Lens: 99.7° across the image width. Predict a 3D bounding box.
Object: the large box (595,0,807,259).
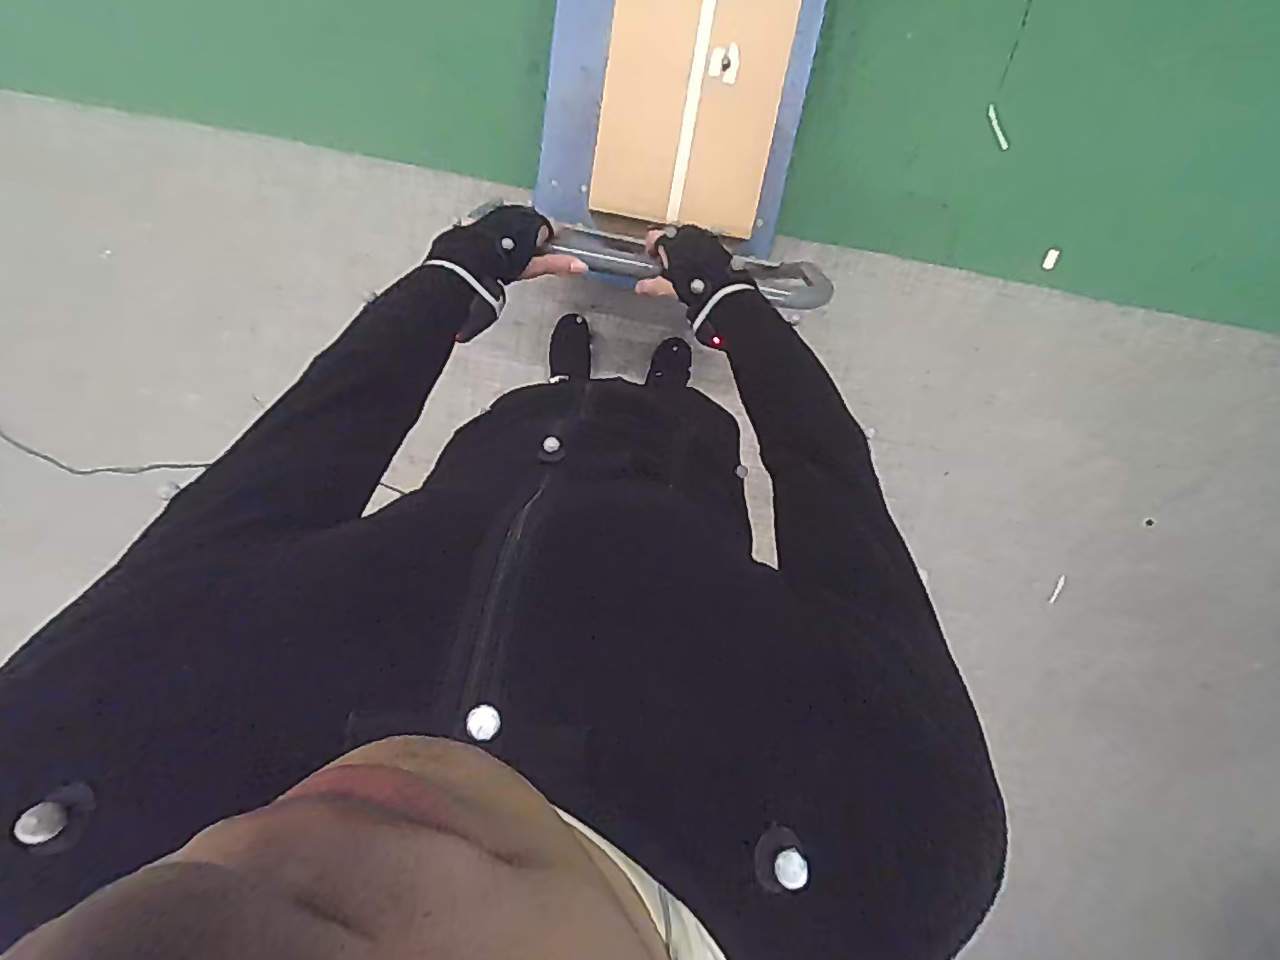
[{"bbox_3d":[0.100,-0.696,1.090,0.320,0.320,0.408,10,106,-3],"label":"large box"}]
